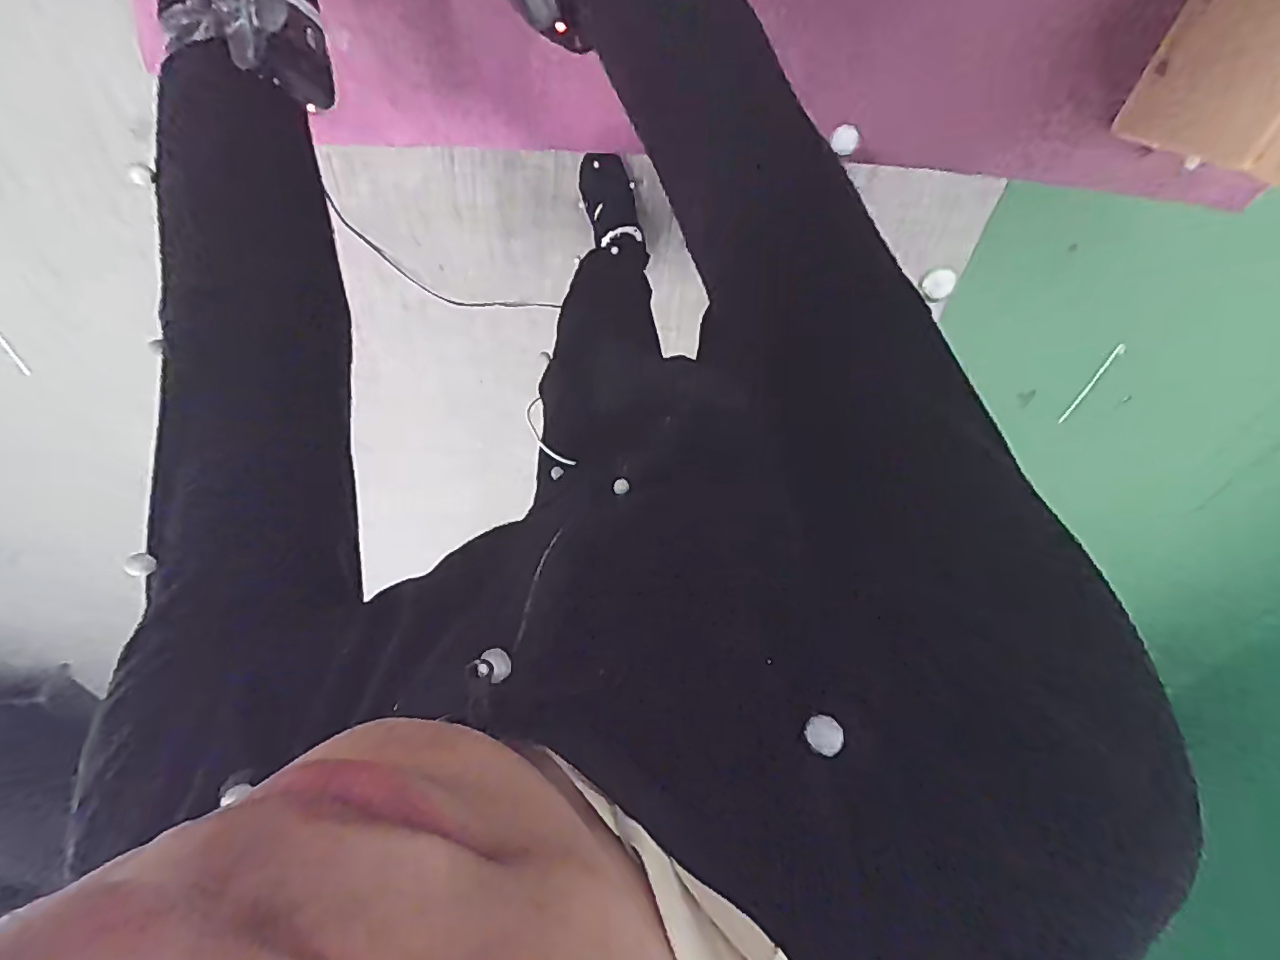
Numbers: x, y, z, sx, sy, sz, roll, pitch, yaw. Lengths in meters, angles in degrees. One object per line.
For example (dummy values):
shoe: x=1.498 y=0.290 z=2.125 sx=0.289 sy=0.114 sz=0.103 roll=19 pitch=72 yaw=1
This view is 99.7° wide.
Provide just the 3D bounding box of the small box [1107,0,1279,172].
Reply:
small box: x=0.620 y=-0.394 z=0.509 sx=0.179 sy=0.176 sz=0.168 roll=3 pitch=132 yaw=-10
